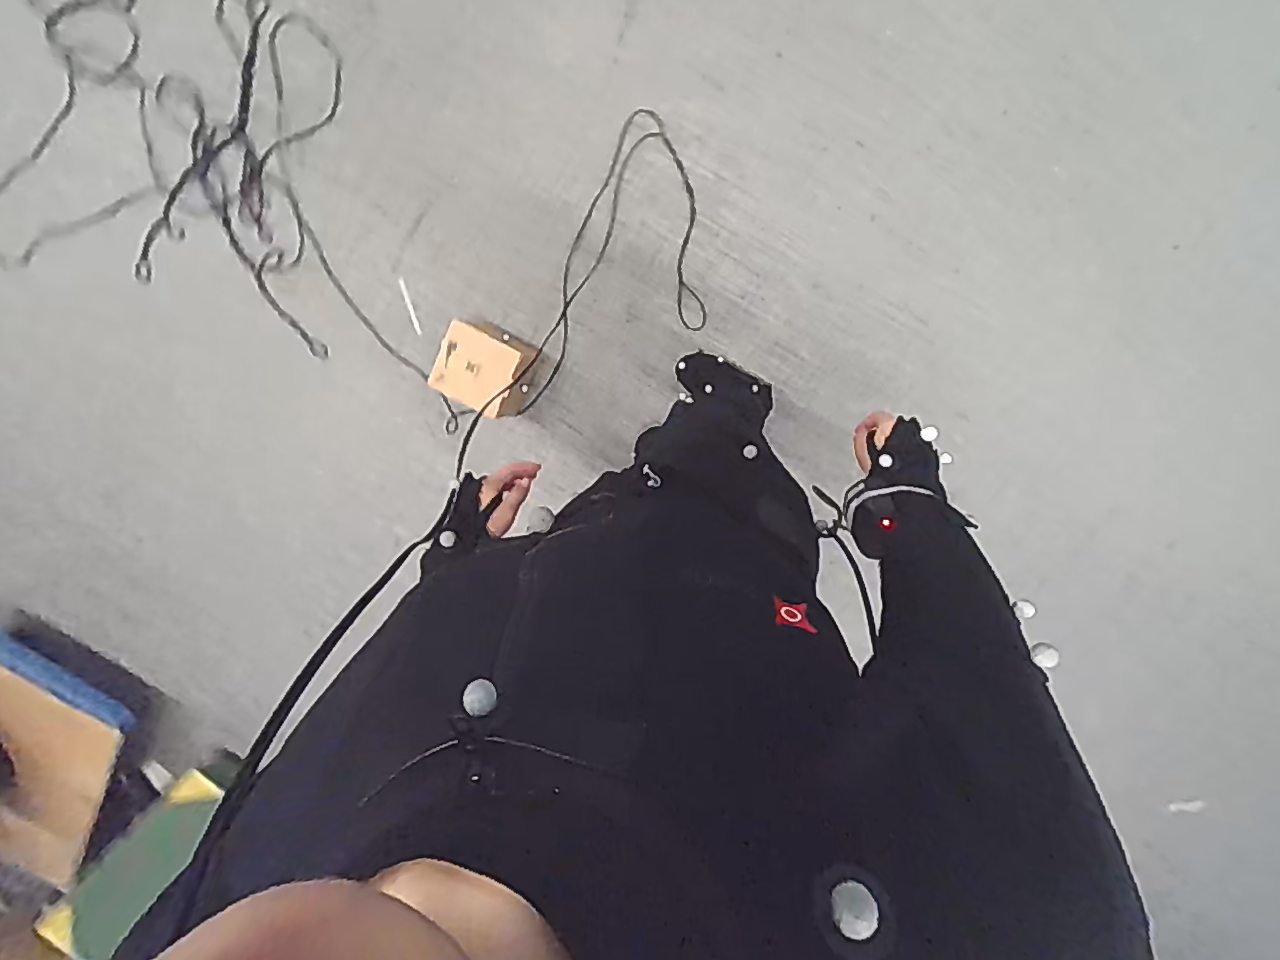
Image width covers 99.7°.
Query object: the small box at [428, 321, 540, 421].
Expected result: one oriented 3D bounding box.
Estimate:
[{"bbox_3d":[-0.357,-0.257,1.270,0.179,0.176,0.168,27,104,0],"label":"small box"}]
